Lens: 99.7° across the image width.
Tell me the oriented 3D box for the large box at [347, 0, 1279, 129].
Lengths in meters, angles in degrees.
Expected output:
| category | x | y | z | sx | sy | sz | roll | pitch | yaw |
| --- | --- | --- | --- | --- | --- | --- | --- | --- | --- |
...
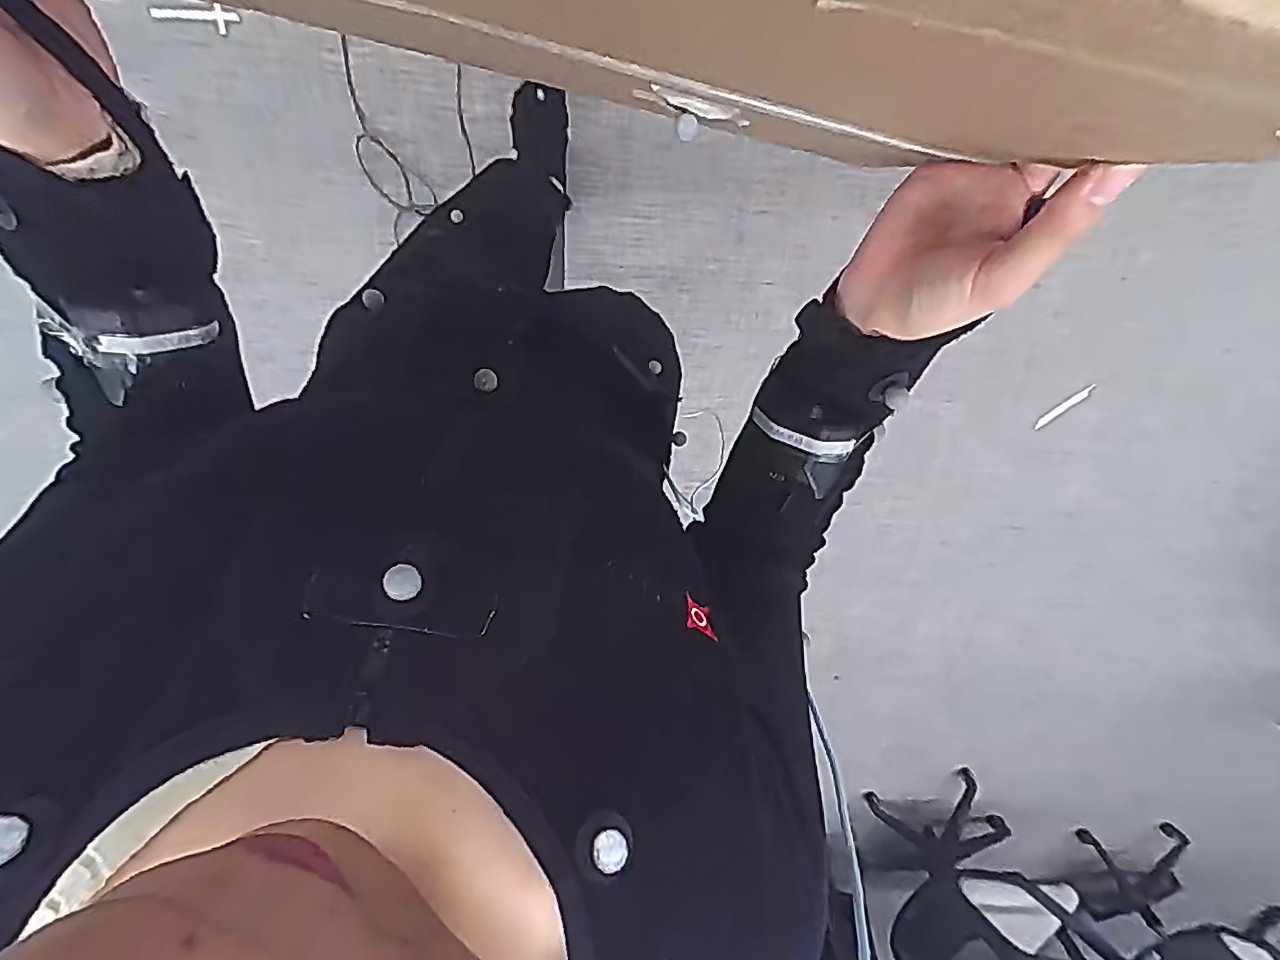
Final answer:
| category | x | y | z | sx | sy | sz | roll | pitch | yaw |
| --- | --- | --- | --- | --- | --- | --- | --- | --- | --- |
| large box | -0.007 | -0.307 | 0.115 | 0.408 | 0.320 | 0.320 | 6 | 120 | -10 |
